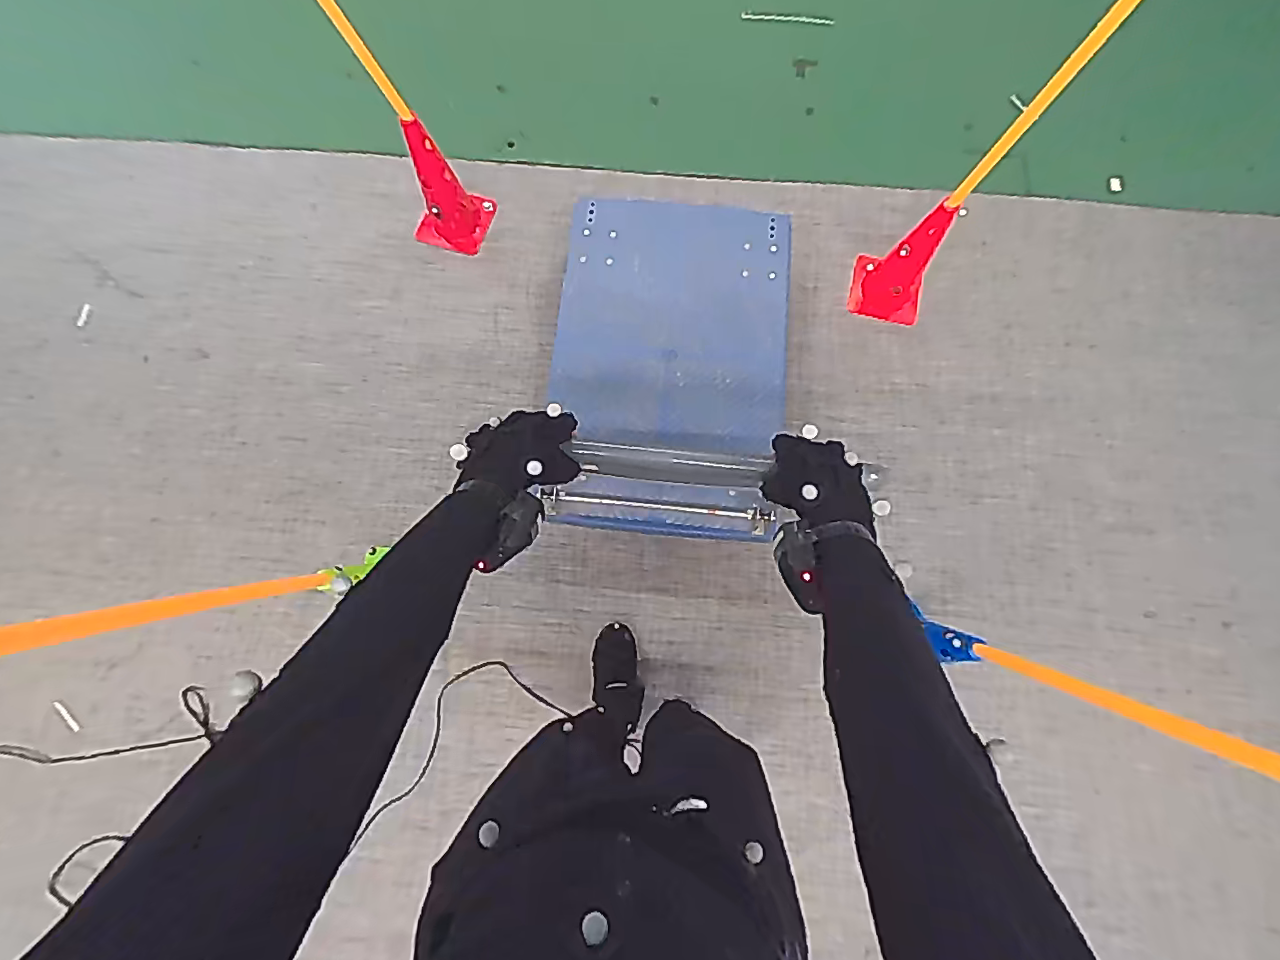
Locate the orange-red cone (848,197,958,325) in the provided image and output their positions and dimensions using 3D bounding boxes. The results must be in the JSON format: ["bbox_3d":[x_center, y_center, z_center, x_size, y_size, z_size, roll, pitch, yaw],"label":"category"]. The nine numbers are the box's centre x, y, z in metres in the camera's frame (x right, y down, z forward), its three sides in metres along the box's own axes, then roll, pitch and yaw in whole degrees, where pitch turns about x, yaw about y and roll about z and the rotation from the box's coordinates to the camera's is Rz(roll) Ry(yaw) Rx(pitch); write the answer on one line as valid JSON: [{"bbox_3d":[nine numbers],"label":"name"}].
[{"bbox_3d":[0.719,-0.595,1.417,0.198,0.360,0.199,15,78,4],"label":"orange-red cone"}]
